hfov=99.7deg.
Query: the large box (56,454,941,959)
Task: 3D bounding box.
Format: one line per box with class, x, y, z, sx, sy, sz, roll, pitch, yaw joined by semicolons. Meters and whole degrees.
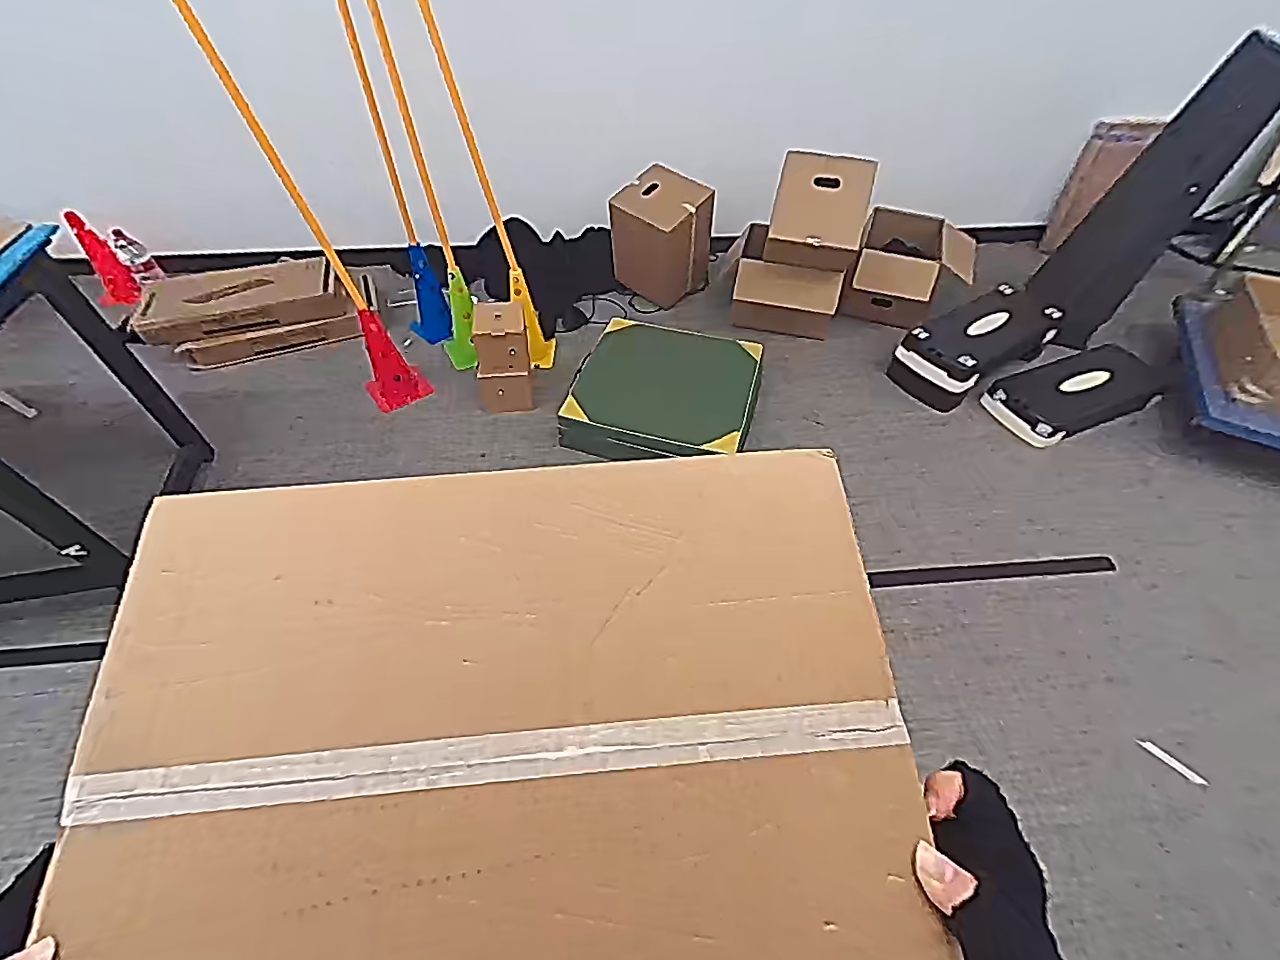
large box;-0.072;0.199;0.415;0.408;0.320;0.320;-4;67;-2
